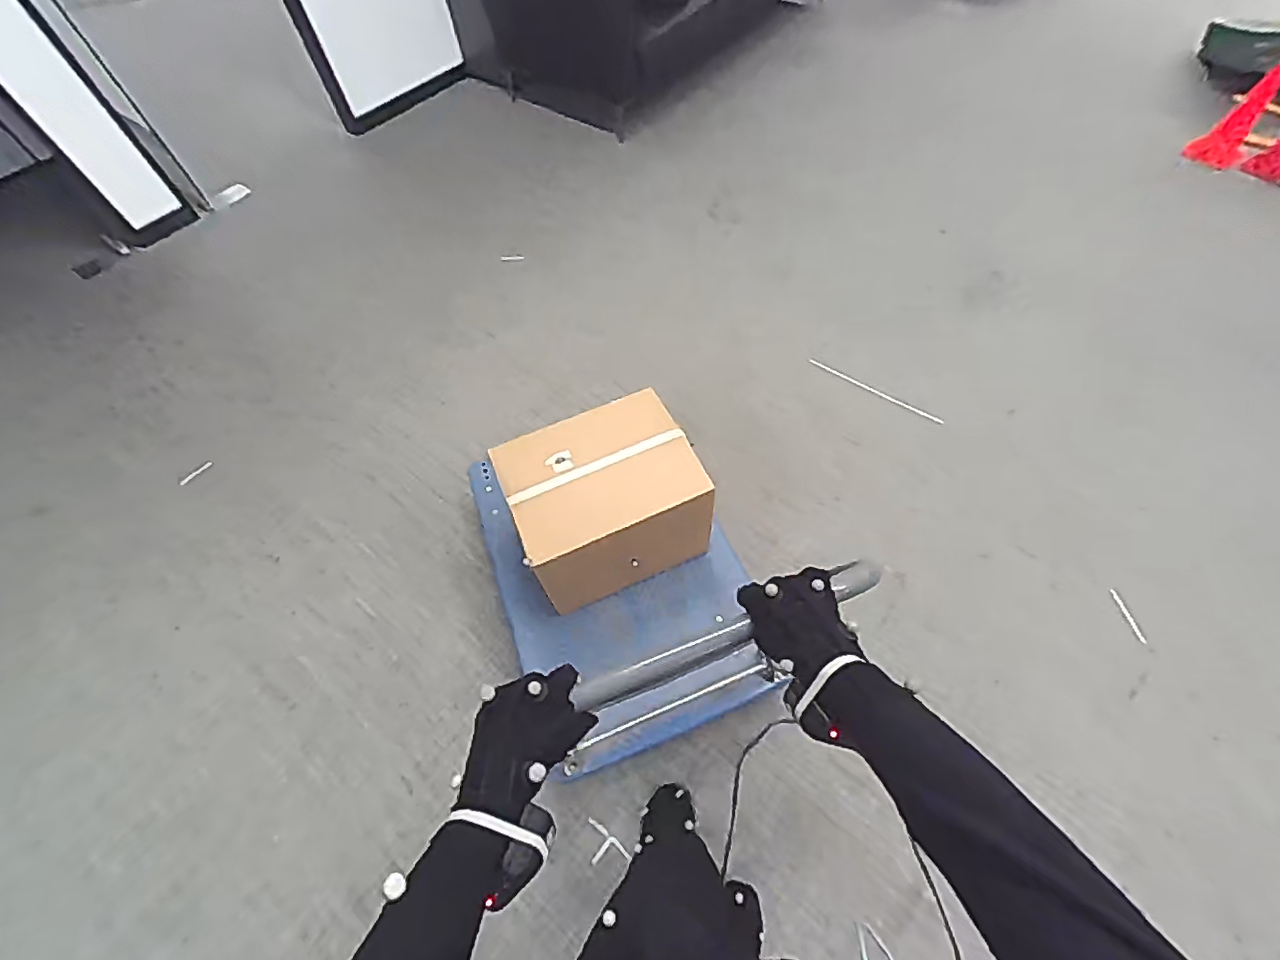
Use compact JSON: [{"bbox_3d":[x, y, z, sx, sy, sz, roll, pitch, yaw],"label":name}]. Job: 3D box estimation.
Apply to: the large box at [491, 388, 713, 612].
[{"bbox_3d":[-0.079,0.054,1.282,0.408,0.320,0.320,-24,59,-10],"label":"large box"}]
